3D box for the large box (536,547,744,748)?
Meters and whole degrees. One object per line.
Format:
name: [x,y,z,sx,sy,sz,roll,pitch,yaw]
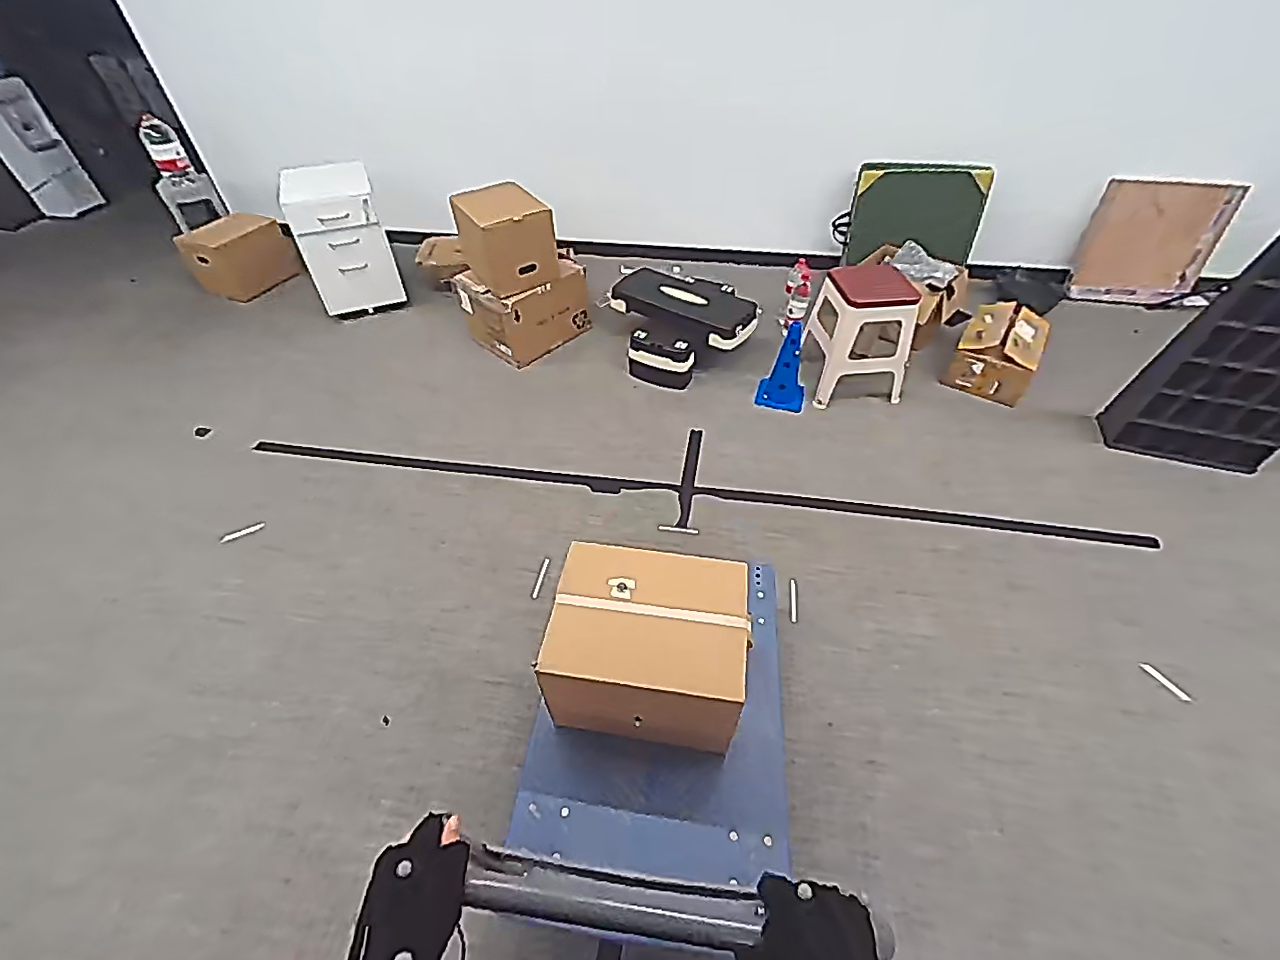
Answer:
large box: [0.020,0.383,1.234,0.408,0.320,0.320,6,47,7]
